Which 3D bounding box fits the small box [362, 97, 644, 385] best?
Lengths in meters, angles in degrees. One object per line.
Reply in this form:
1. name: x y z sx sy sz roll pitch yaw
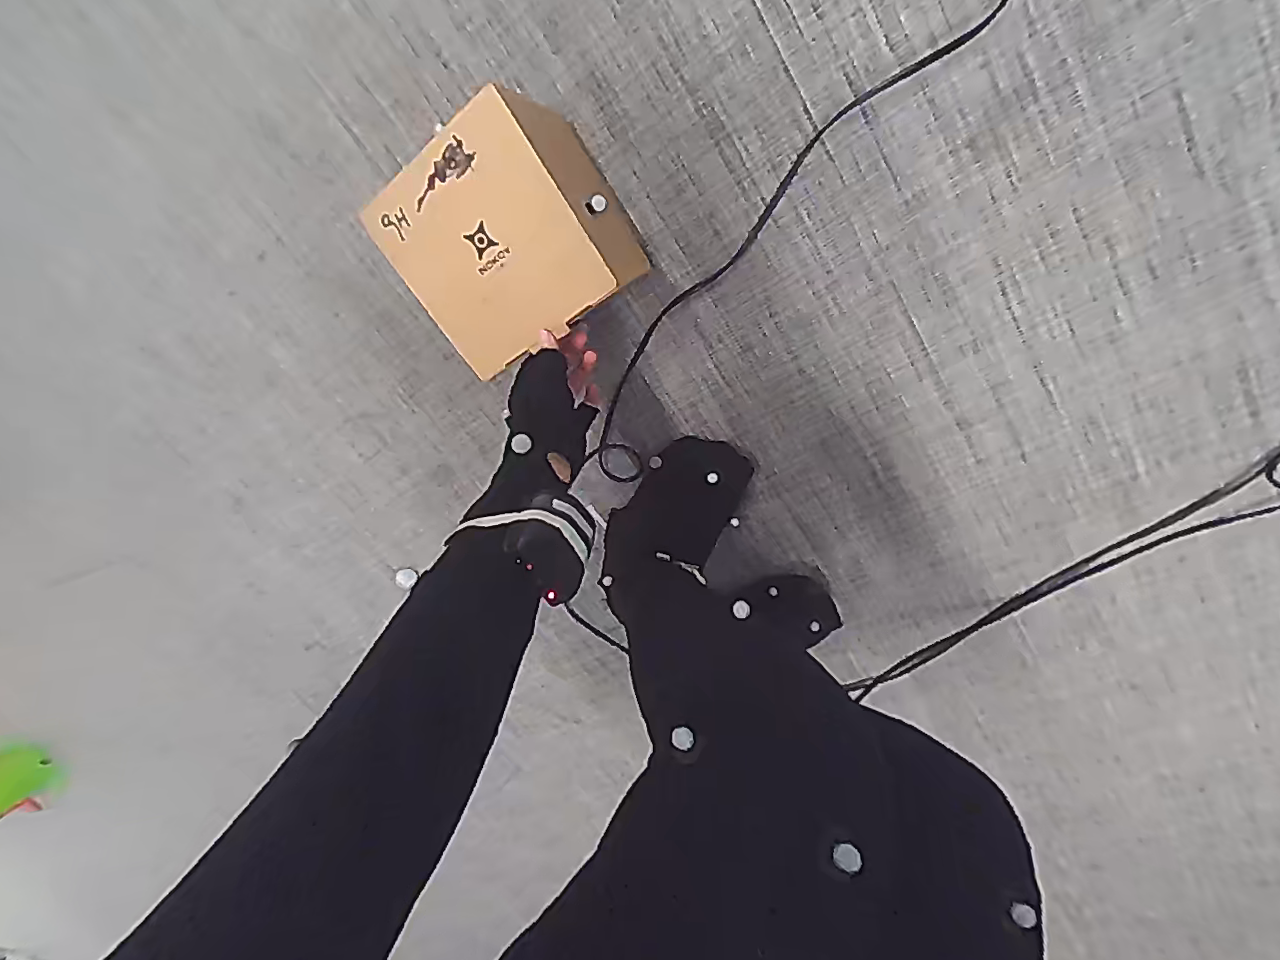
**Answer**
1. small box: -0.114 -0.227 0.529 0.168 0.176 0.179 -27 109 23
